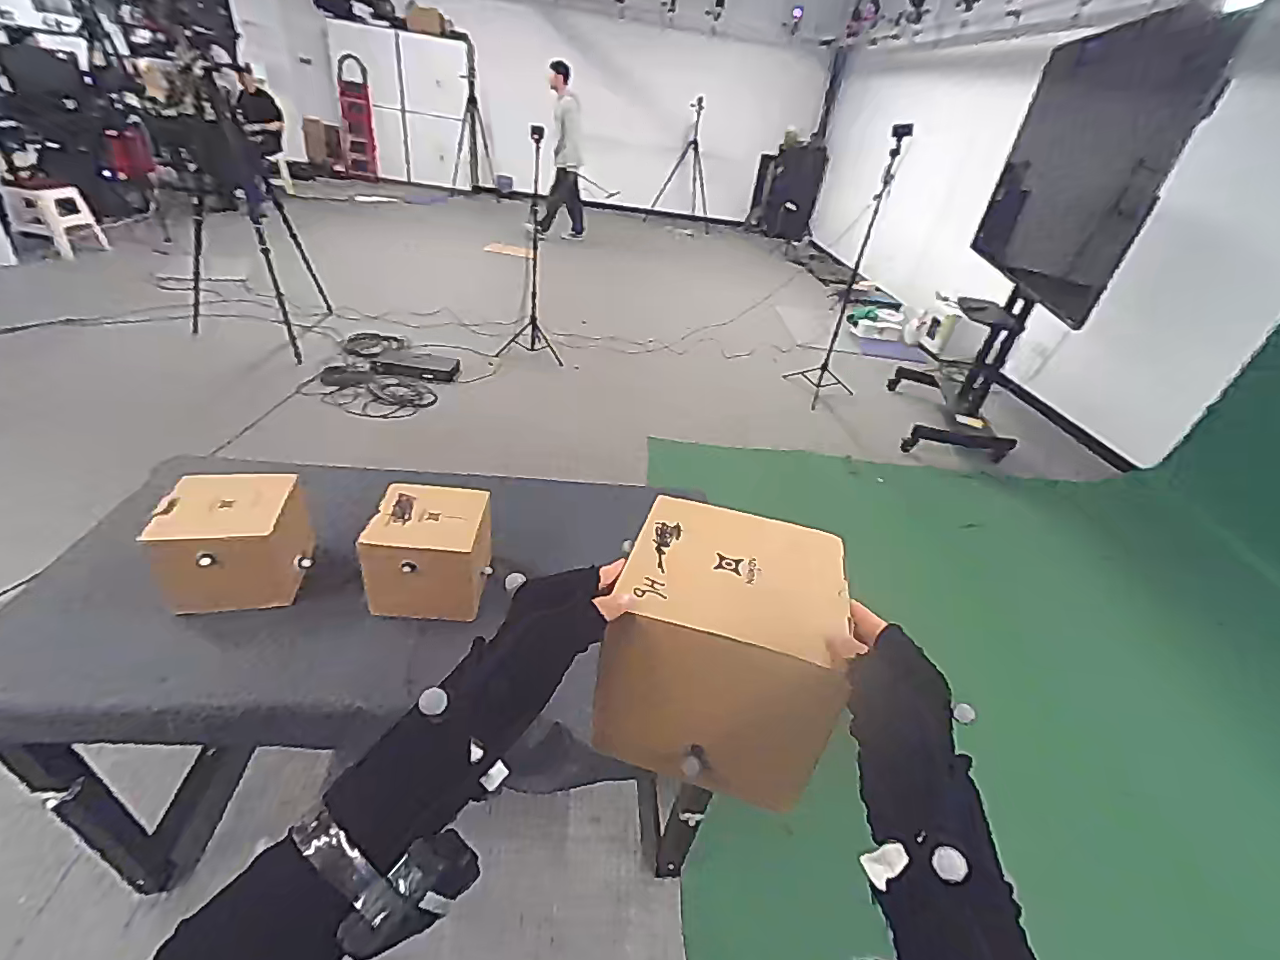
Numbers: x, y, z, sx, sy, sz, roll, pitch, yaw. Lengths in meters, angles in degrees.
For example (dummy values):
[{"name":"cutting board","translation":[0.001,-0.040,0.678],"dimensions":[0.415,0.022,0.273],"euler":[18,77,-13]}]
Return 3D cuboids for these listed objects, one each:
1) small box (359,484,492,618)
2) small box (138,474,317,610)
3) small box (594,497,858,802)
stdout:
[{"name":"small box","translation":[-0.368,0.127,0.961],"dimensions":[0.179,0.176,0.168],"euler":[6,35,-6]},{"name":"small box","translation":[-0.681,0.106,0.920],"dimensions":[0.179,0.176,0.168],"euler":[0,37,-15]},{"name":"small box","translation":[0.072,0.144,0.476],"dimensions":[0.179,0.176,0.168],"euler":[15,30,10]}]
